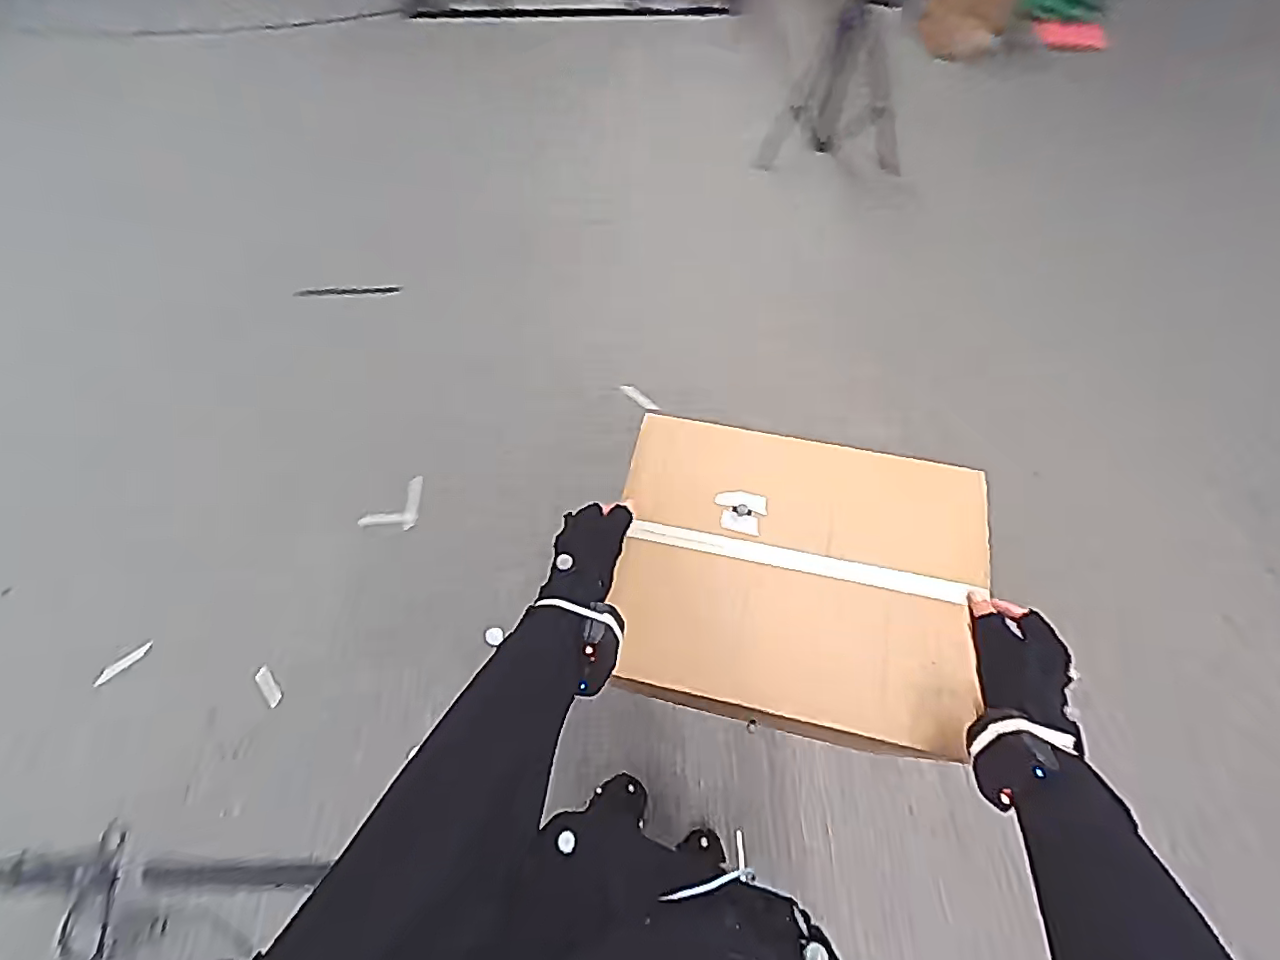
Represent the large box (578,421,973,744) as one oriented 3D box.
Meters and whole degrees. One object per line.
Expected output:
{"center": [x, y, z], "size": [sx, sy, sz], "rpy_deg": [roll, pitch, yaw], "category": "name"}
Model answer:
{"center": [0.168, 0.150, 0.739], "size": [0.408, 0.320, 0.320], "rpy_deg": [9, 66, 9], "category": "large box"}
